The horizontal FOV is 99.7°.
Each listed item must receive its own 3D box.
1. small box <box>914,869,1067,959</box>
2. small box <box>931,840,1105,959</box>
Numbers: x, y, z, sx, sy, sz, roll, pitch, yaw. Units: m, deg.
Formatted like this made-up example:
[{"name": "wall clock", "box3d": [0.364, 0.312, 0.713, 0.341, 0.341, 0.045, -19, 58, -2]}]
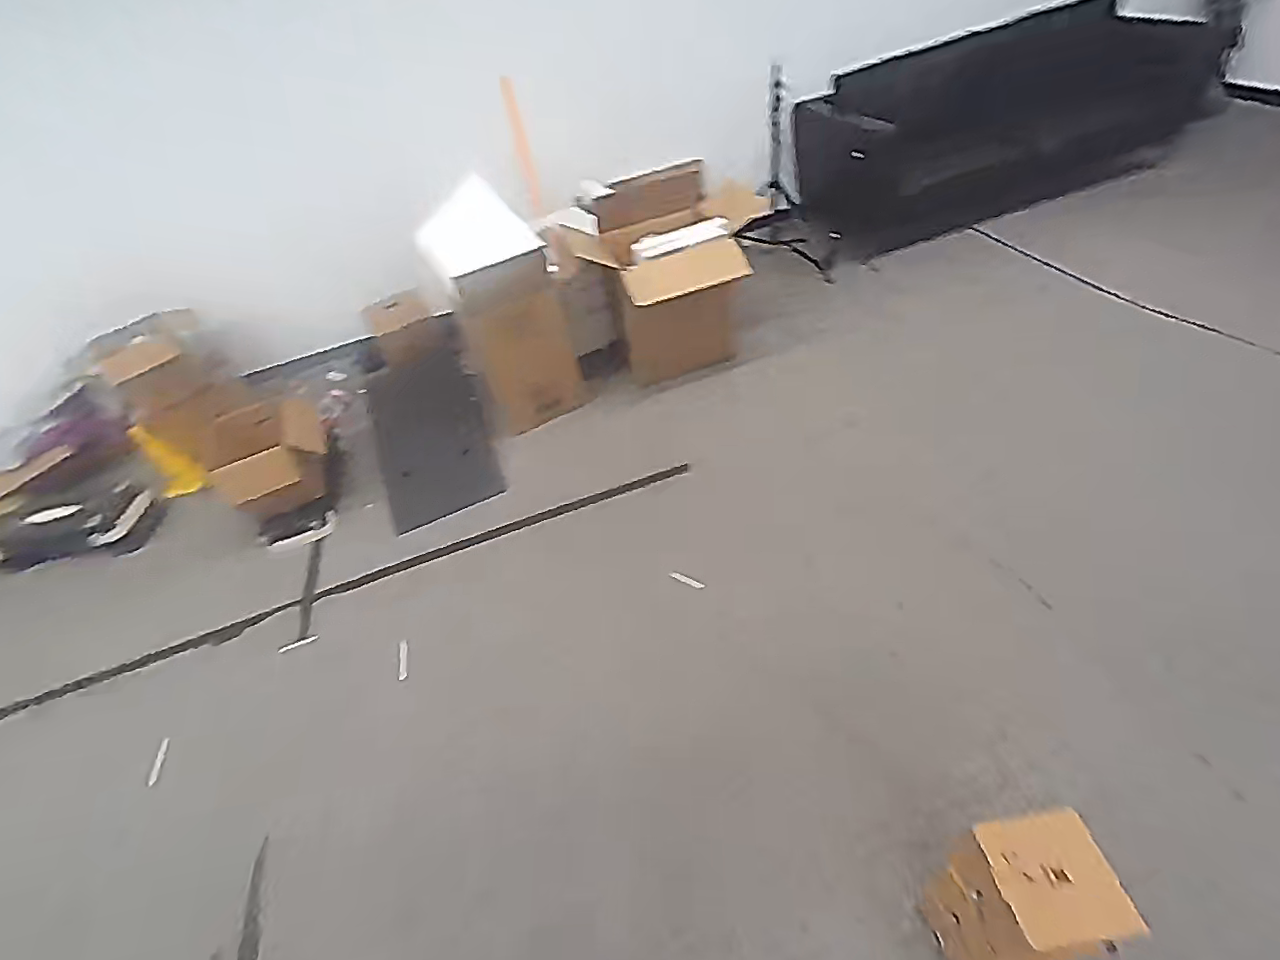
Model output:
[{"name": "small box", "box3d": [0.691, 0.866, 1.091, 0.179, 0.176, 0.168, -16, 45, -4]}, {"name": "small box", "box3d": [0.668, 0.747, 0.984, 0.179, 0.176, 0.168, -15, 45, -2]}]
